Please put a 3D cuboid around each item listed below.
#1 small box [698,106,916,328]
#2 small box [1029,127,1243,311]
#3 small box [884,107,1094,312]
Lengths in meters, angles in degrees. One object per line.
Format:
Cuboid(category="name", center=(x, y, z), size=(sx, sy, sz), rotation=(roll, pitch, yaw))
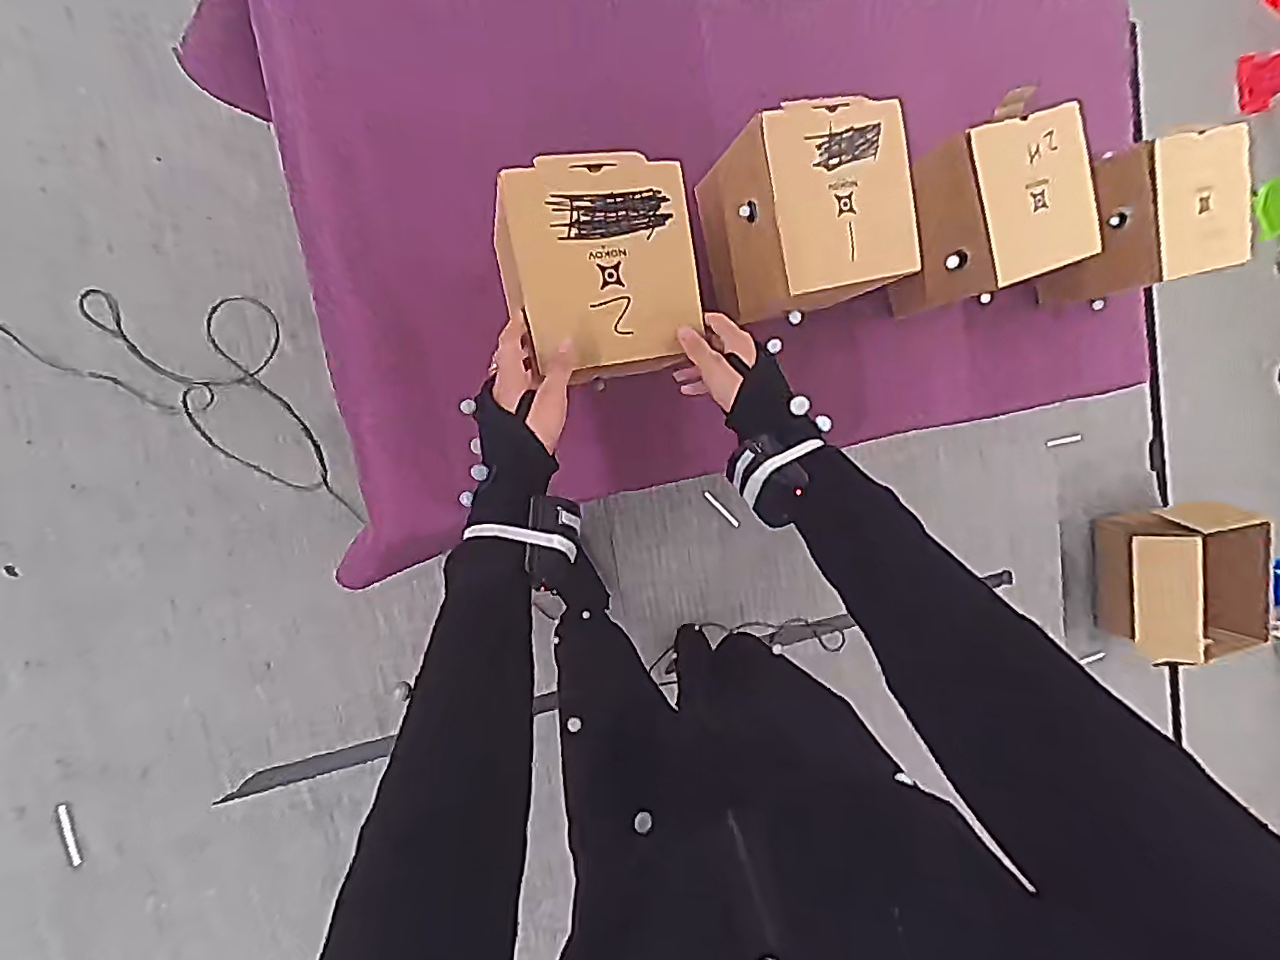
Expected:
Cuboid(category="small box", center=(0.182, -0.293, 0.631), size=(0.168, 0.176, 0.179), rotation=(-15, 98, -14))
Cuboid(category="small box", center=(0.686, -0.359, 0.768), size=(0.168, 0.176, 0.179), rotation=(-15, 97, -13))
Cuboid(category="small box", center=(0.425, -0.329, 0.696), size=(0.168, 0.176, 0.179), rotation=(-21, 99, -14))
